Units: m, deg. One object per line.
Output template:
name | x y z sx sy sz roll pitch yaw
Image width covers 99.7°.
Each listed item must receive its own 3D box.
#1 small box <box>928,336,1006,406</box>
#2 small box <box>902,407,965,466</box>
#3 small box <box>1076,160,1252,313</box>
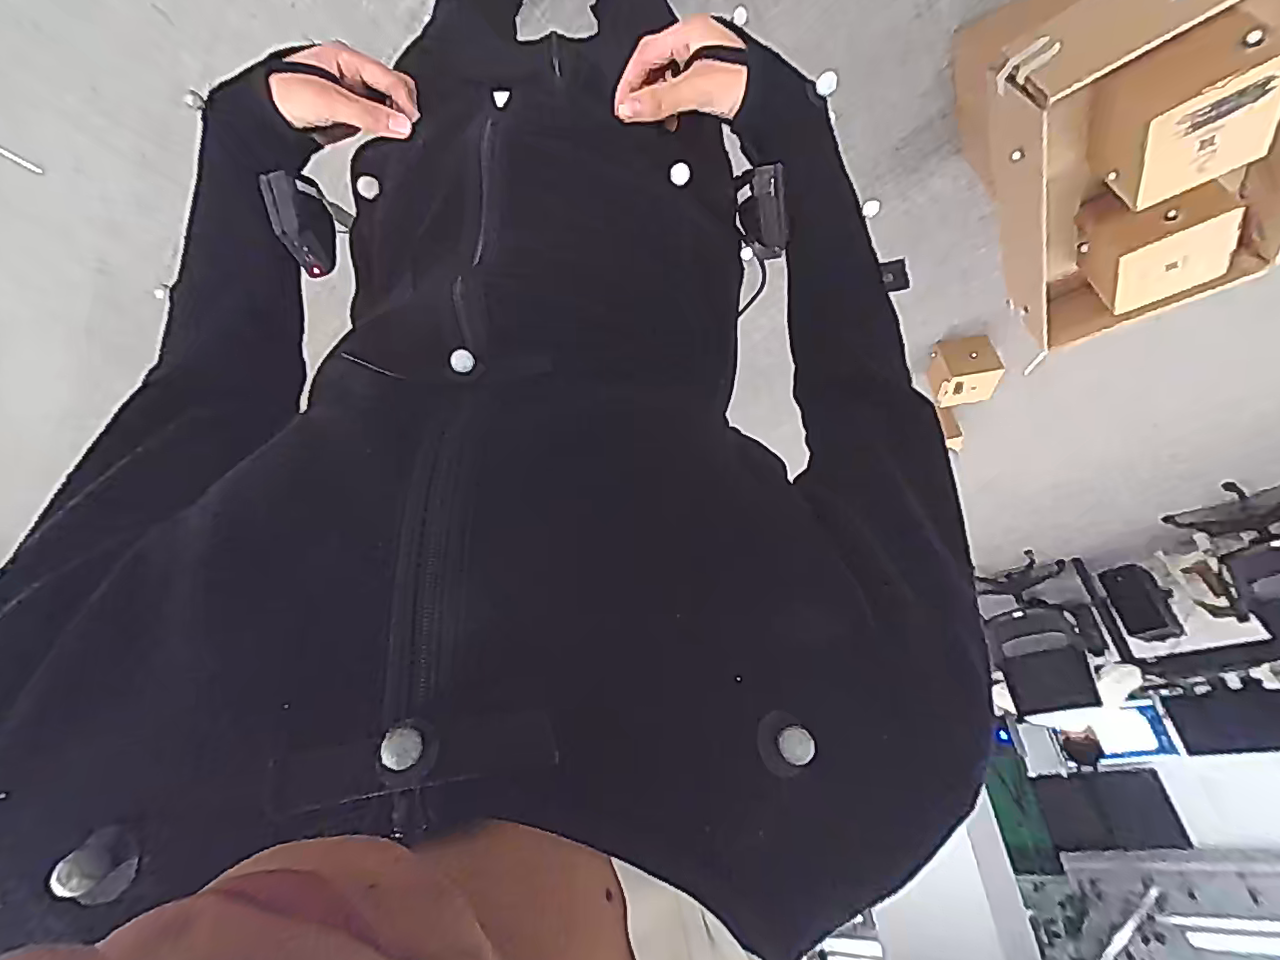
small box | 1.165 -0.392 1.947 0.179 0.176 0.168 -8 147 8
small box | 1.230 -0.184 2.278 0.179 0.176 0.168 -12 146 14
small box | 0.984 -0.466 1.035 0.179 0.176 0.168 -24 141 25
